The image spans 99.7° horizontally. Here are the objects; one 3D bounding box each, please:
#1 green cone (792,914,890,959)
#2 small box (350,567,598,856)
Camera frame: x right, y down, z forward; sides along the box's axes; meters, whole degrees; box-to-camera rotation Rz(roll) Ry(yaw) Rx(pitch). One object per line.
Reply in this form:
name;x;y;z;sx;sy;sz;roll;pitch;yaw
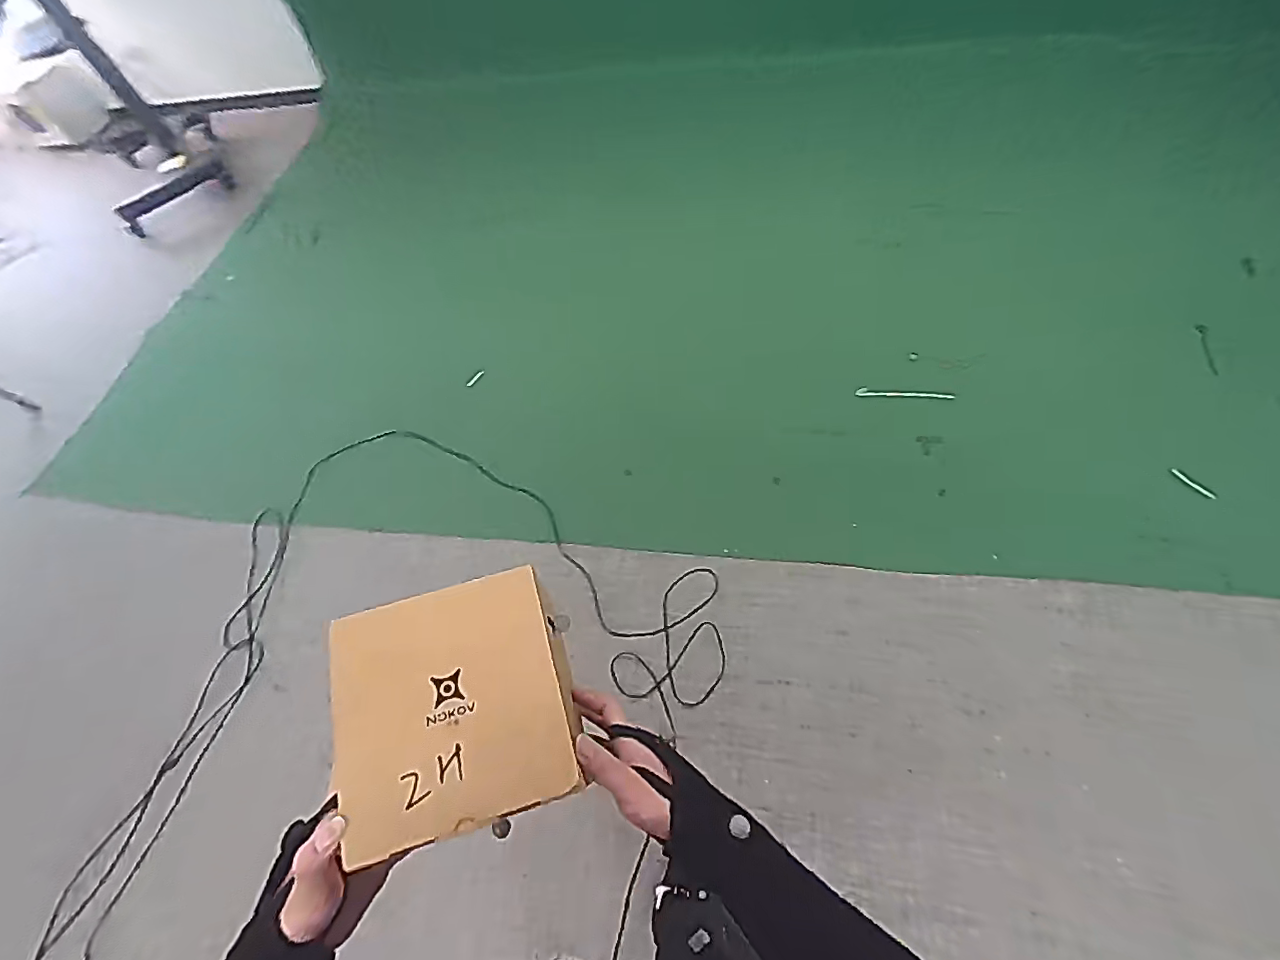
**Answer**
green cone;0.400;0.975;1.001;0.202;0.368;0.200;4;60;12
small box;-0.138;0.201;0.486;0.168;0.176;0.179;-14;65;-8
